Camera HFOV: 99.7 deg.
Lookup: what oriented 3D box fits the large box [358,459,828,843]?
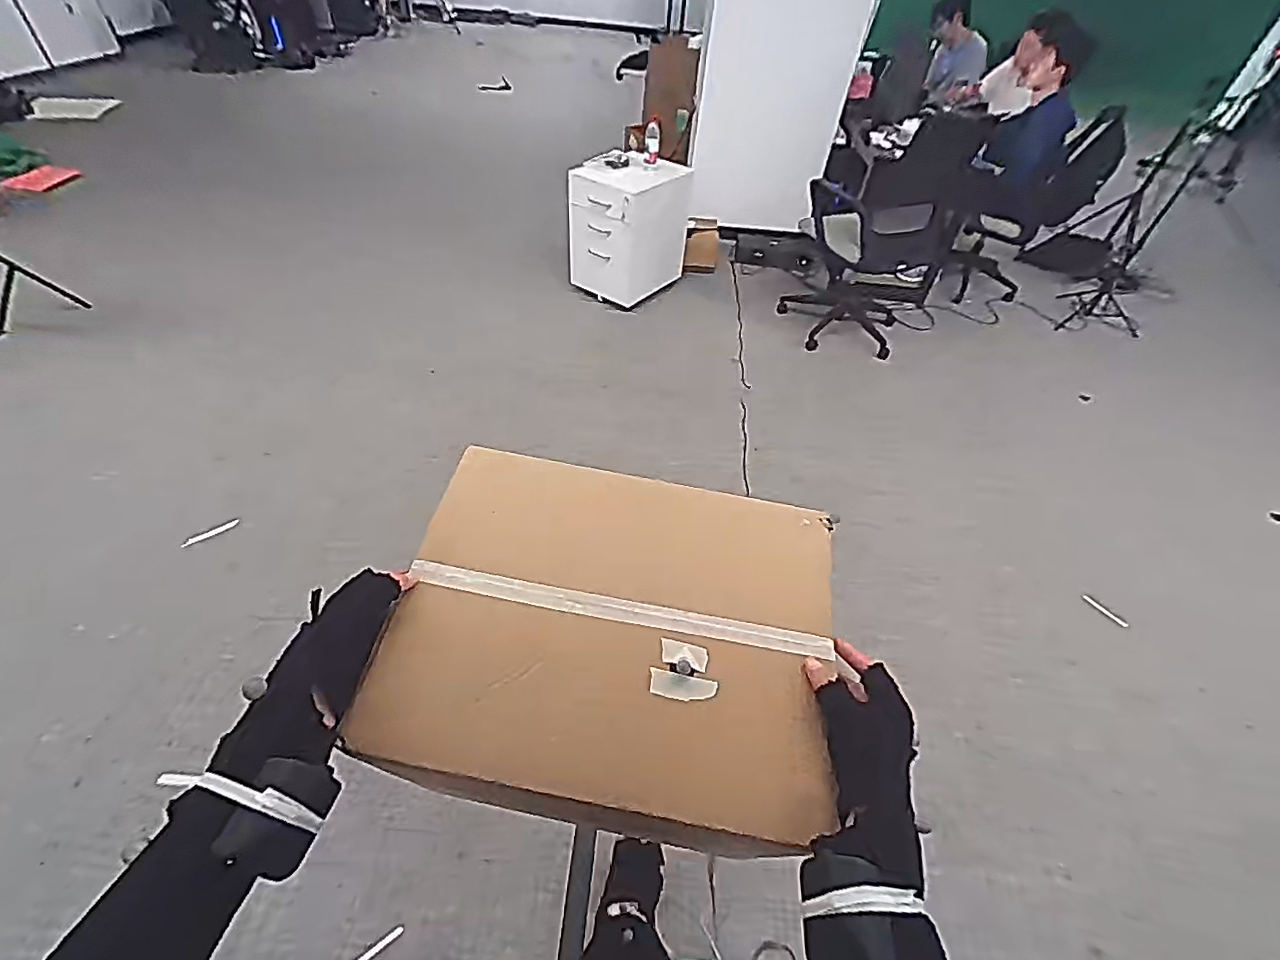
[{"bbox_3d":[-0.032,0.215,0.649,0.408,0.320,0.320,11,55,2],"label":"large box"}]
